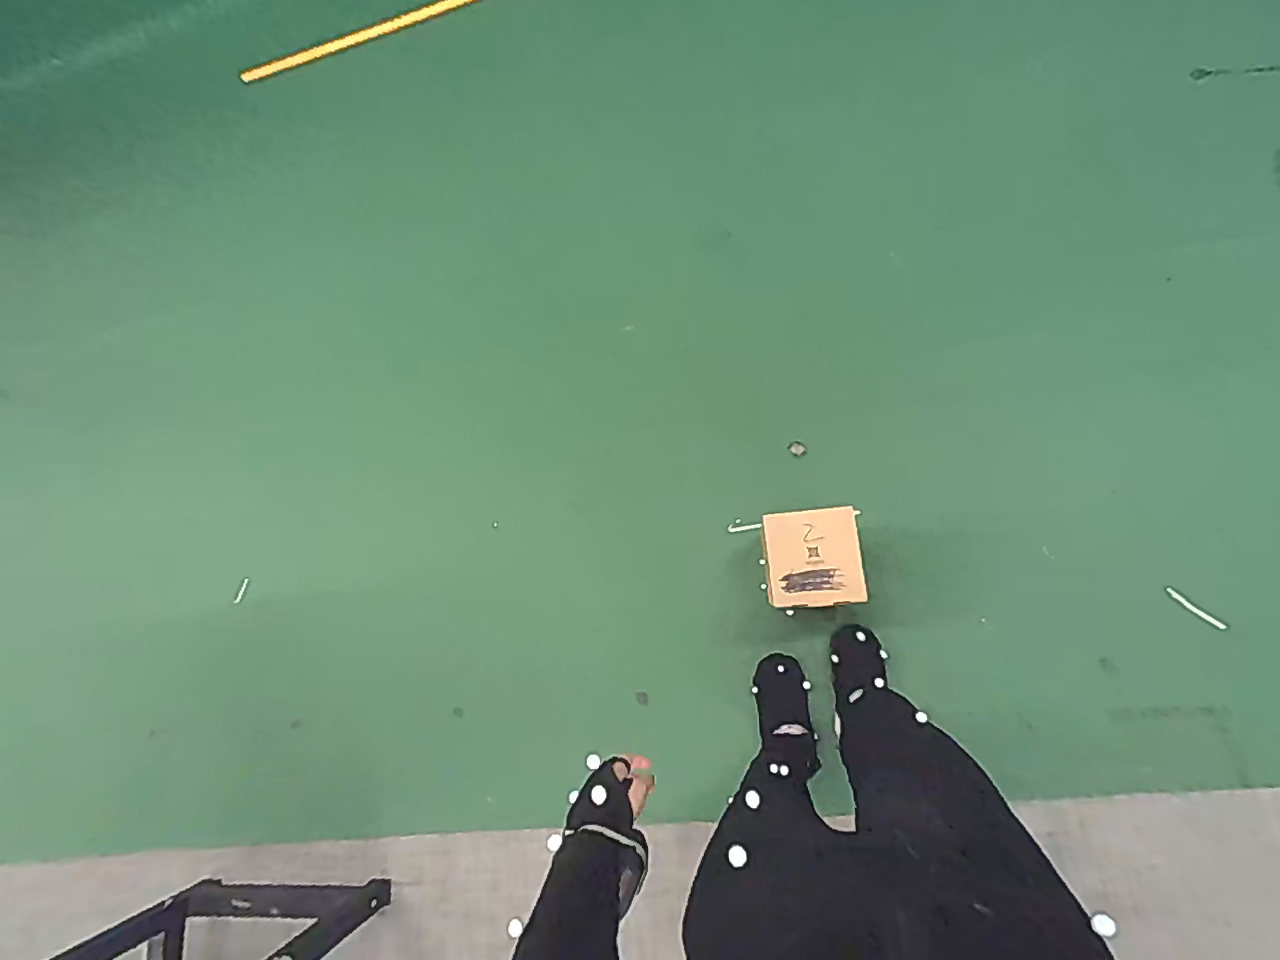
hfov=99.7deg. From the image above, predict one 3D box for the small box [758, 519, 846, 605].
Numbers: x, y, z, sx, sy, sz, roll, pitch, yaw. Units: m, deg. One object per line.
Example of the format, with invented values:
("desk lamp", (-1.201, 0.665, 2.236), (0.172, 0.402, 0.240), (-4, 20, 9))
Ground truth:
("small box", (0.359, 0.191, 1.231), (0.168, 0.176, 0.179), (-6, 78, 11))
